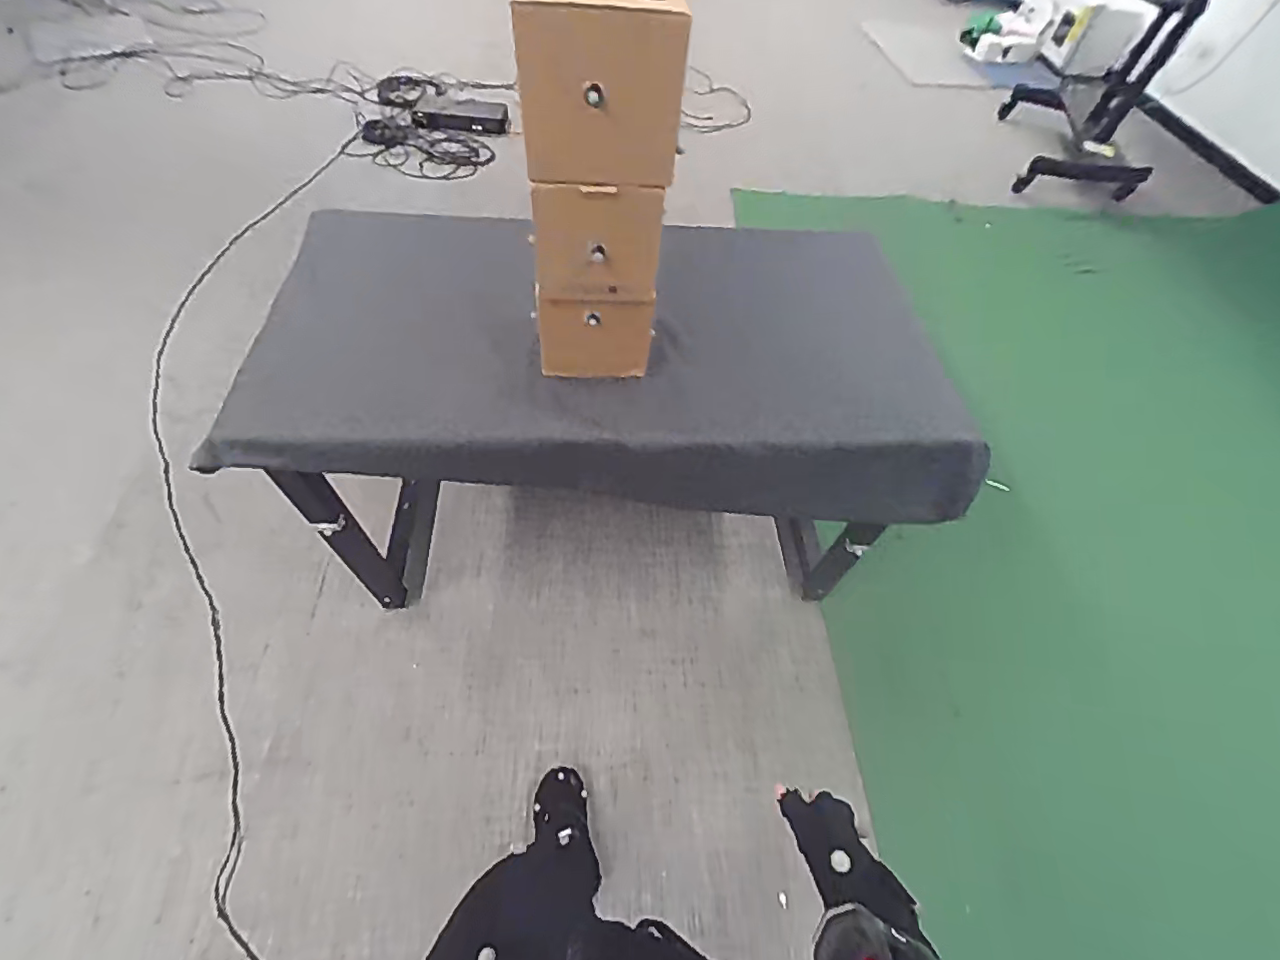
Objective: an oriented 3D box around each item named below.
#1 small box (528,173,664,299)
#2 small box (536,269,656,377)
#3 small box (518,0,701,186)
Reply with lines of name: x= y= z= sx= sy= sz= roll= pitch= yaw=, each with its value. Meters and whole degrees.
small box: x=-0.060 y=-0.372 z=0.752 sx=0.168 sy=0.176 sz=0.179 roll=-1 pitch=57 yaw=-6
small box: x=-0.073 y=-0.287 z=0.891 sx=0.179 sy=0.176 sz=0.168 roll=0 pitch=57 yaw=-6
small box: x=-0.042 y=-0.460 z=0.613 sx=0.179 sy=0.176 sz=0.168 roll=-2 pitch=57 yaw=-8
